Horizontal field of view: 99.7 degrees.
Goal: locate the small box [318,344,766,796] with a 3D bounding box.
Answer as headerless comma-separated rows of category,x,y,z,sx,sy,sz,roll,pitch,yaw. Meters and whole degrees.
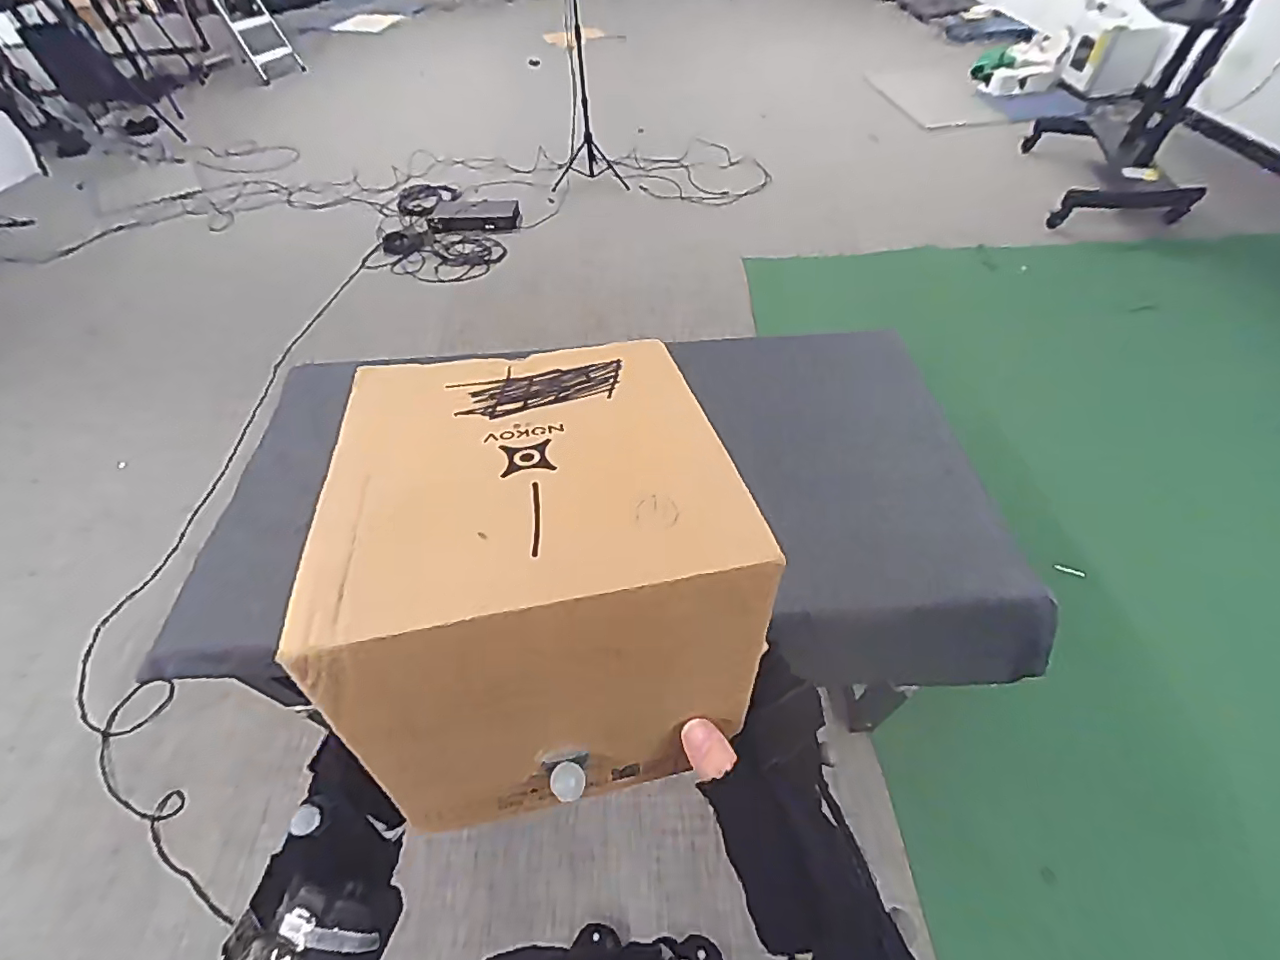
small box,-0.048,0.044,0.309,0.168,0.176,0.179,-9,43,-9
